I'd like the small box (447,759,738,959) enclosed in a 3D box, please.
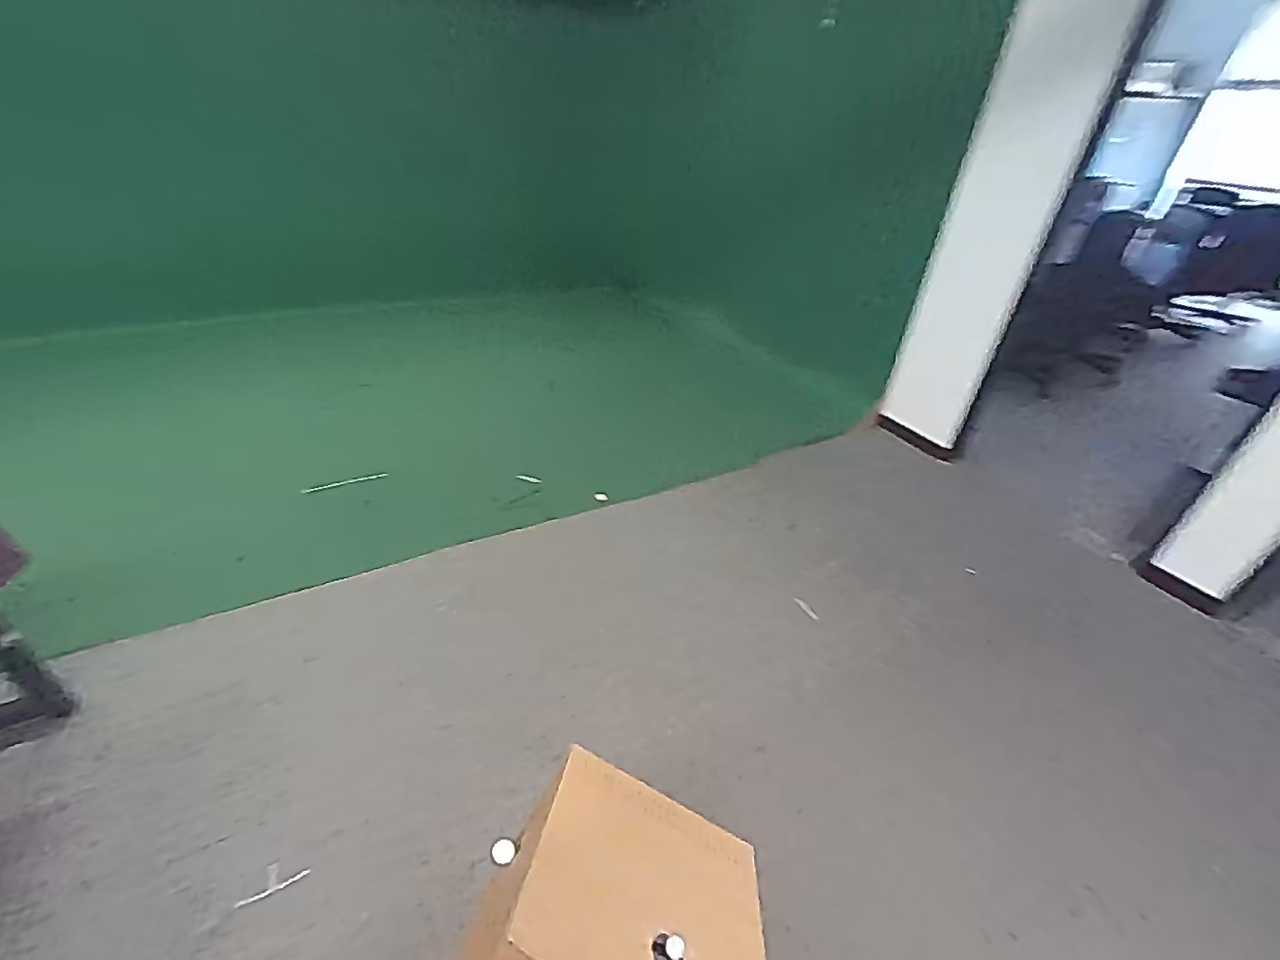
[{"bbox_3d":[-0.038,0.352,0.400,0.179,0.168,0.176,29,12,1],"label":"small box"}]
